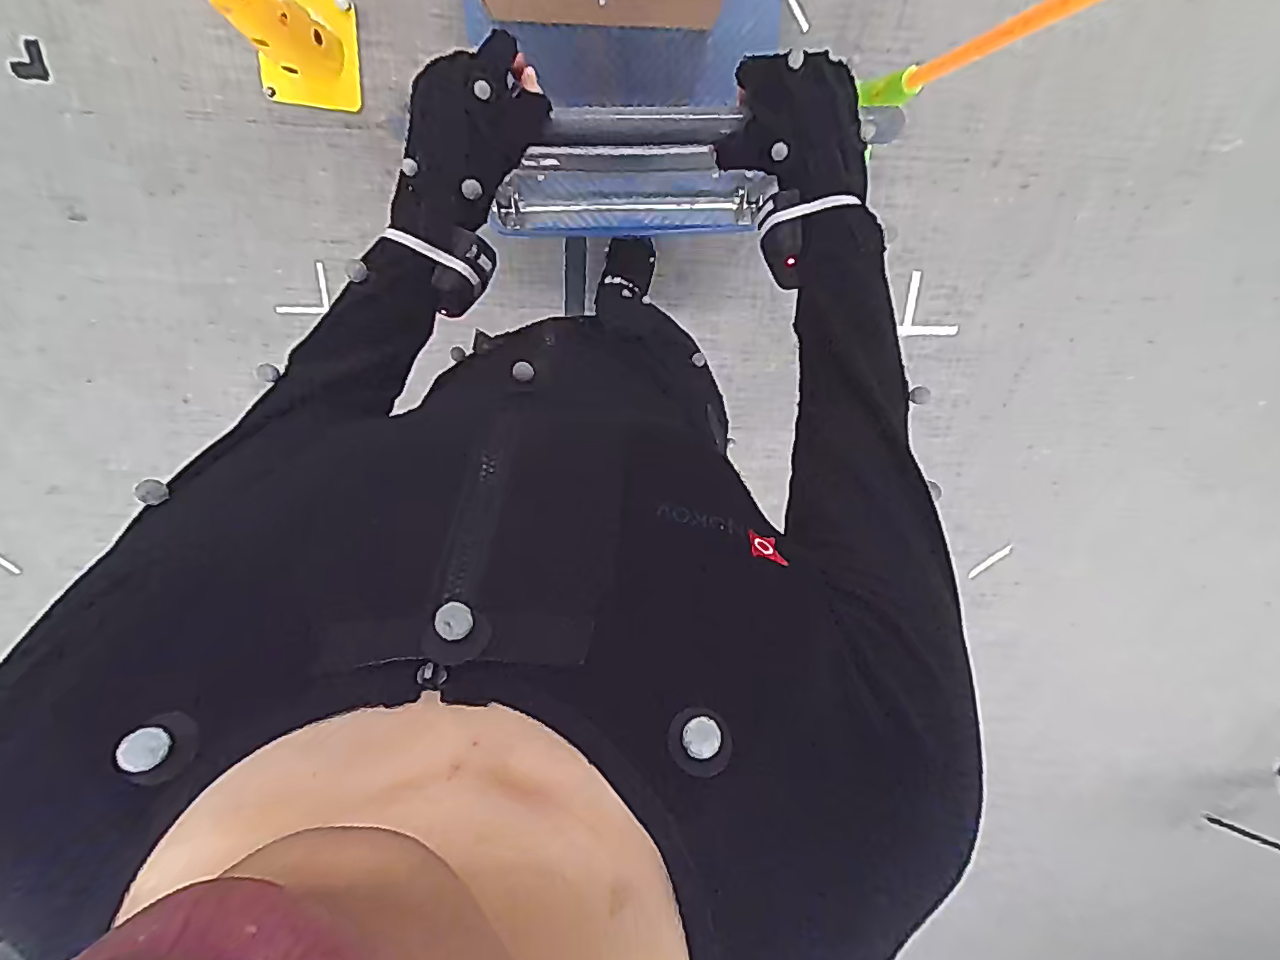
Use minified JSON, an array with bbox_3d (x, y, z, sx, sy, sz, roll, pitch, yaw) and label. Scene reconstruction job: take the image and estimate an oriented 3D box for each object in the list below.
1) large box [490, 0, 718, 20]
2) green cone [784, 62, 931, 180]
[{"bbox_3d":[-0.060,-0.931,0.805,0.408,0.320,0.320,0,113,-2],"label":"large box"},{"bbox_3d":[0.449,-0.737,1.066,0.202,0.368,0.200,5,112,-6],"label":"green cone"}]
